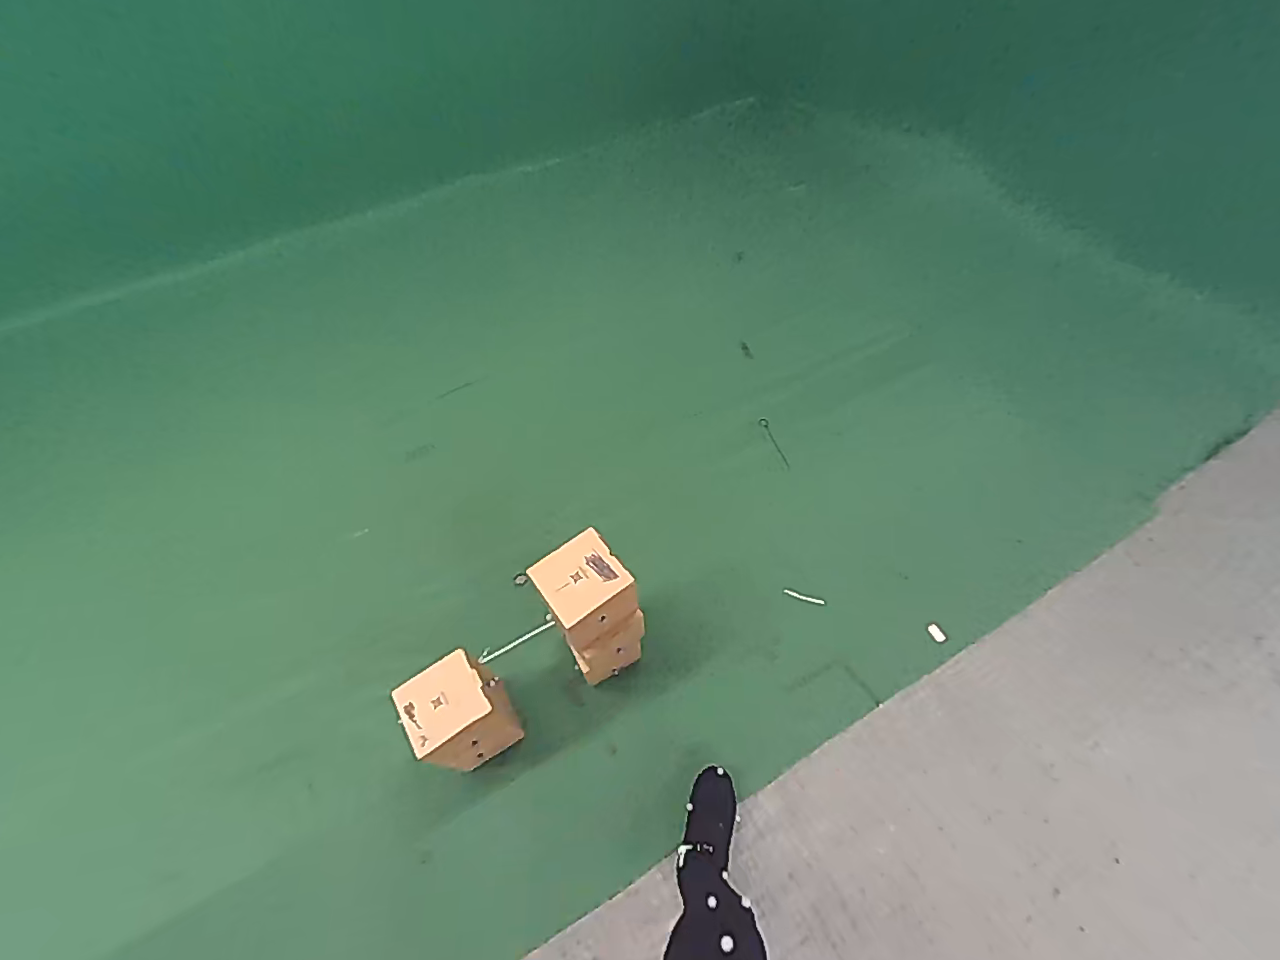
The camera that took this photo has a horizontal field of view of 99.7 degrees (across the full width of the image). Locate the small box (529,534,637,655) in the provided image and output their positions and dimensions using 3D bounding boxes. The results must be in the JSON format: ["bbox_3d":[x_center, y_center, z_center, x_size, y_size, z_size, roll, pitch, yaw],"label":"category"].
[{"bbox_3d":[-0.121,0.259,1.210,0.179,0.176,0.168,-33,61,-16],"label":"small box"}]

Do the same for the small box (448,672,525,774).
[{"bbox_3d":[-0.413,0.627,1.382,0.168,0.176,0.179,-28,59,-14],"label":"small box"}]

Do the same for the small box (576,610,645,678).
[{"bbox_3d":[-0.103,0.361,1.341,0.168,0.176,0.179,-35,62,-18],"label":"small box"}]

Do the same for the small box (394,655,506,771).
[{"bbox_3d":[-0.426,0.538,1.244,0.179,0.176,0.168,-30,60,-16],"label":"small box"}]
